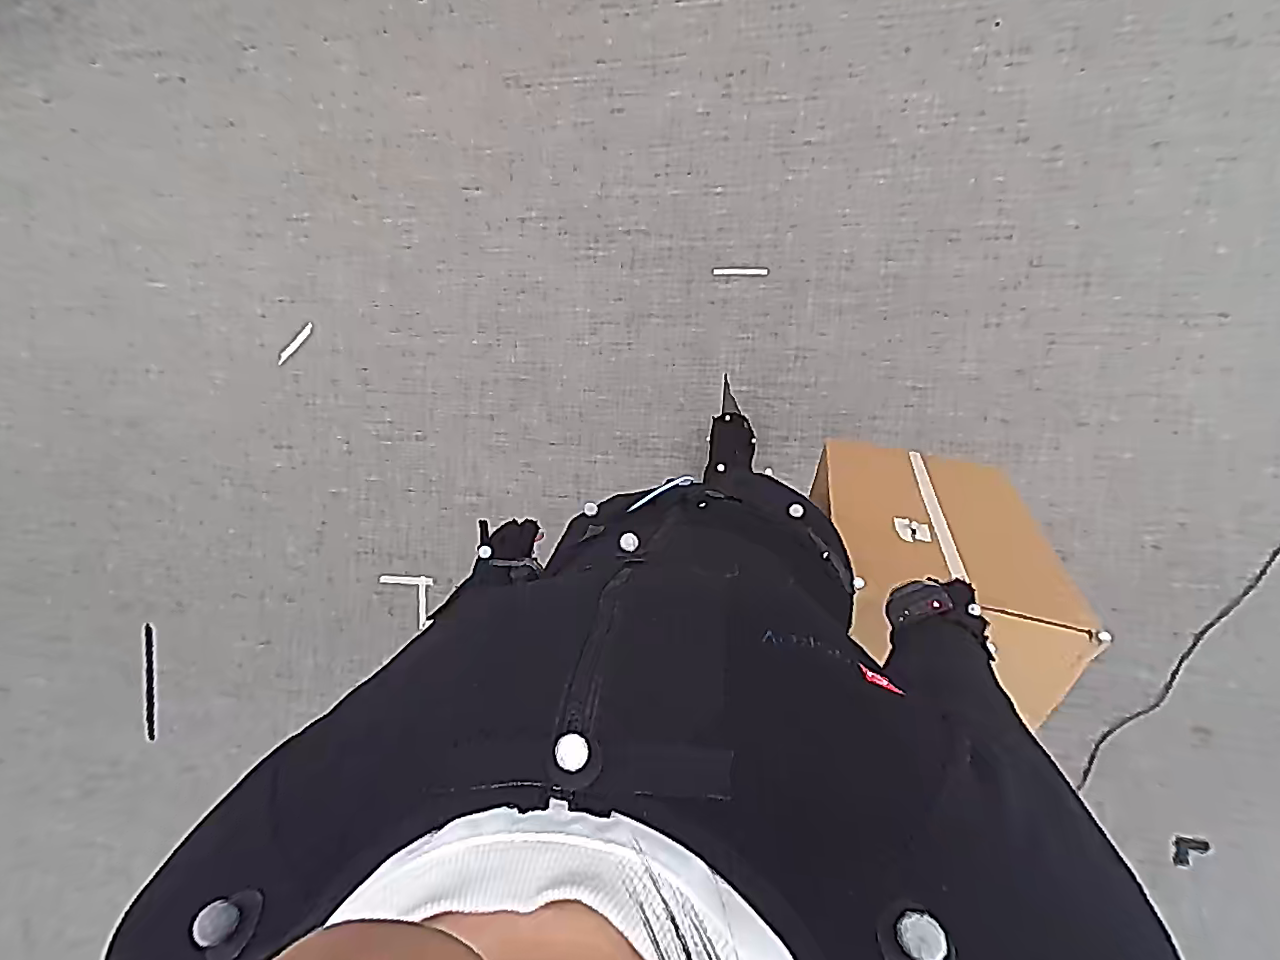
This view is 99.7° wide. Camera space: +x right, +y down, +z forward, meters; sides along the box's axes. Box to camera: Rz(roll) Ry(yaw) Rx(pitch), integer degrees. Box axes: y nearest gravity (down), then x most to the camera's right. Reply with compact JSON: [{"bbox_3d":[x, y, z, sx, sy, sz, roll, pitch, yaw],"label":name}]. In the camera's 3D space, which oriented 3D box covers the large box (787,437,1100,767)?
[{"bbox_3d":[0.436,0.177,0.909,0.320,0.408,0.320,11,124,10],"label":"large box"}]
